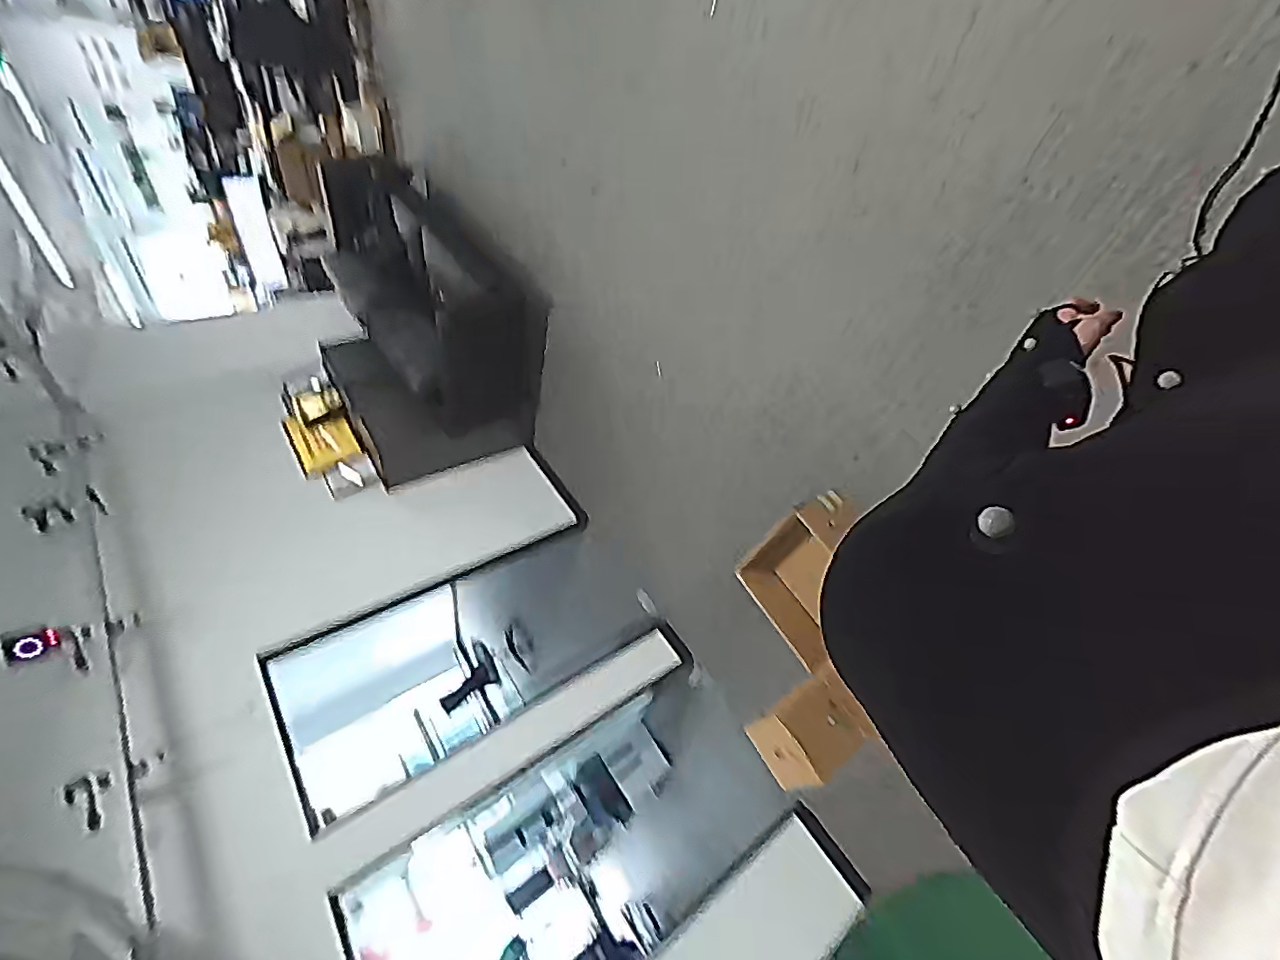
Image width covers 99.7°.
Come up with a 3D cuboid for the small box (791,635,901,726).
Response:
[{"bbox_3d":[0.542,0.539,1.424,0.168,0.176,0.179,54,146,19],"label":"small box"}]

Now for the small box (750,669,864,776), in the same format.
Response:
[{"bbox_3d":[0.413,0.599,1.339,0.168,0.176,0.179,54,146,17],"label":"small box"}]
